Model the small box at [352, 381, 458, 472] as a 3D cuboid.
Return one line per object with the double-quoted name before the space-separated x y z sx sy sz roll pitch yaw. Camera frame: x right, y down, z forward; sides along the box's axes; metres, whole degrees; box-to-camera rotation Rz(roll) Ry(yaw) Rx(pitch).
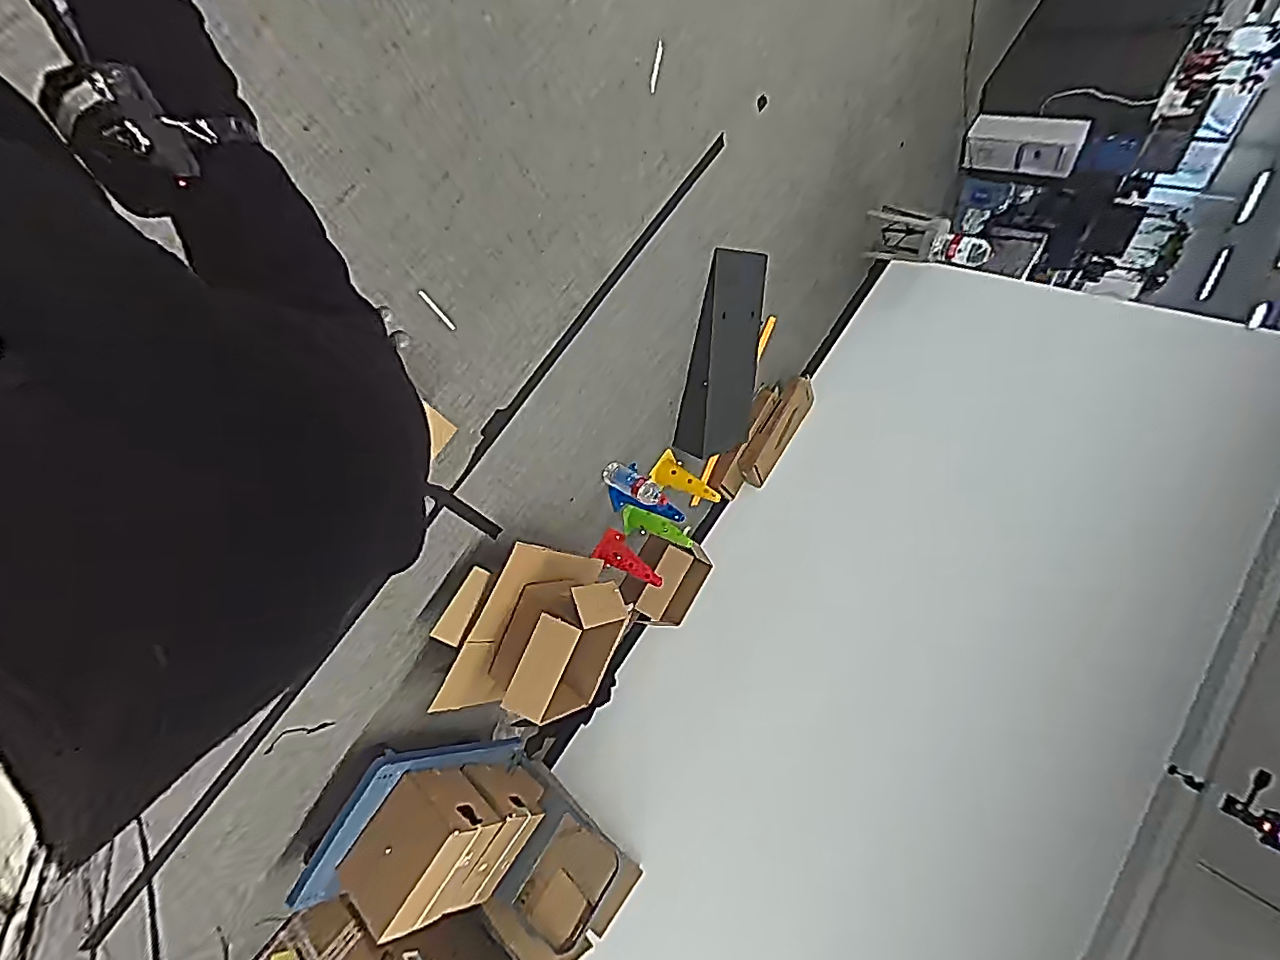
"small box" -0.653 -0.154 1.501 0.168 0.176 0.179 -54 149 -10
